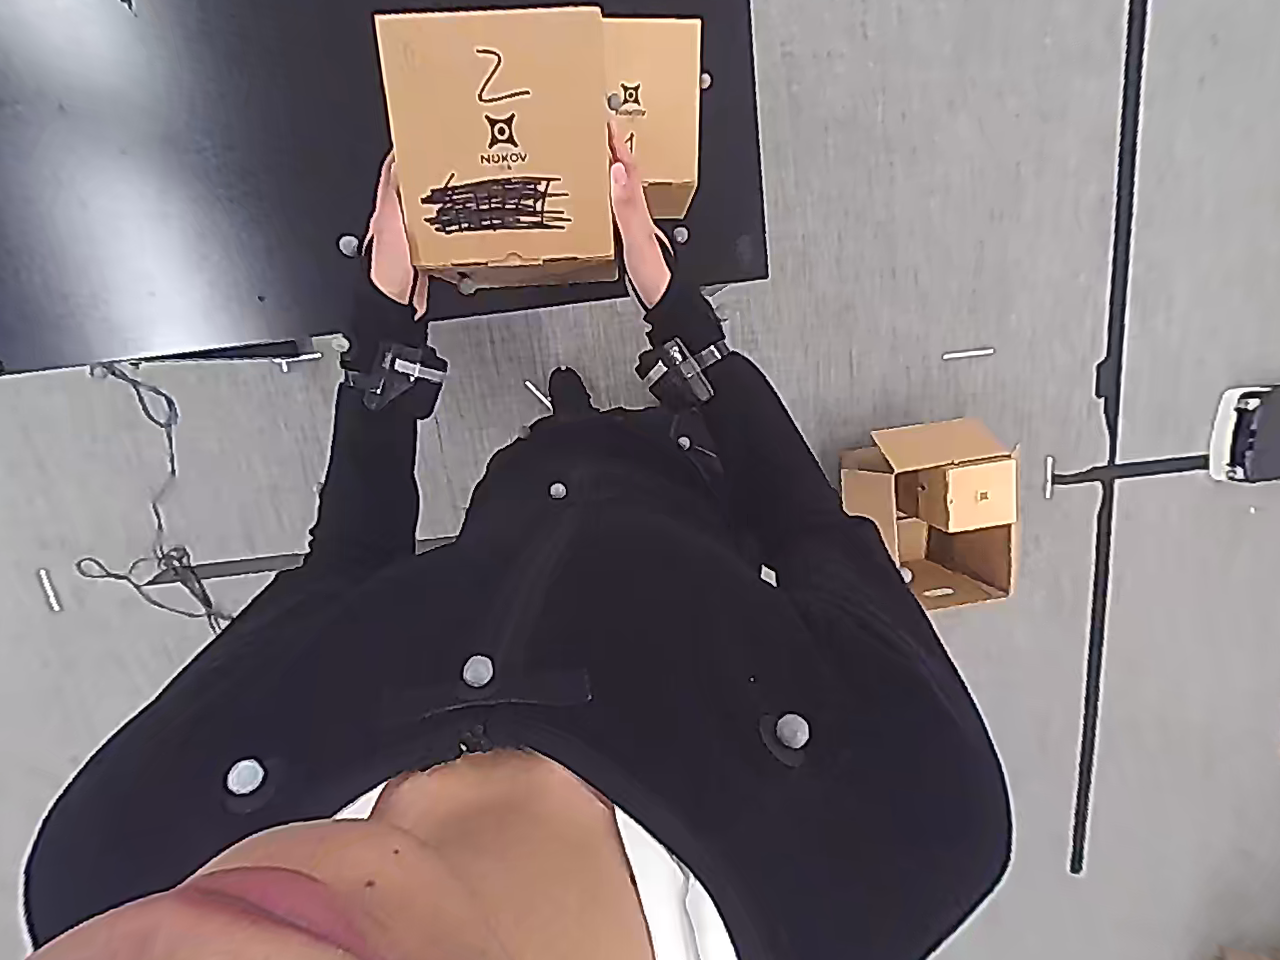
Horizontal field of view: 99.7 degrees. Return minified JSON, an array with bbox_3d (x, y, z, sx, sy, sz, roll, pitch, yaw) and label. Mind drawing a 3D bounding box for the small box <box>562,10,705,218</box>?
[{"bbox_3d":[-0.012,-0.459,0.704,0.168,0.176,0.179,0,103,-1],"label":"small box"}]
